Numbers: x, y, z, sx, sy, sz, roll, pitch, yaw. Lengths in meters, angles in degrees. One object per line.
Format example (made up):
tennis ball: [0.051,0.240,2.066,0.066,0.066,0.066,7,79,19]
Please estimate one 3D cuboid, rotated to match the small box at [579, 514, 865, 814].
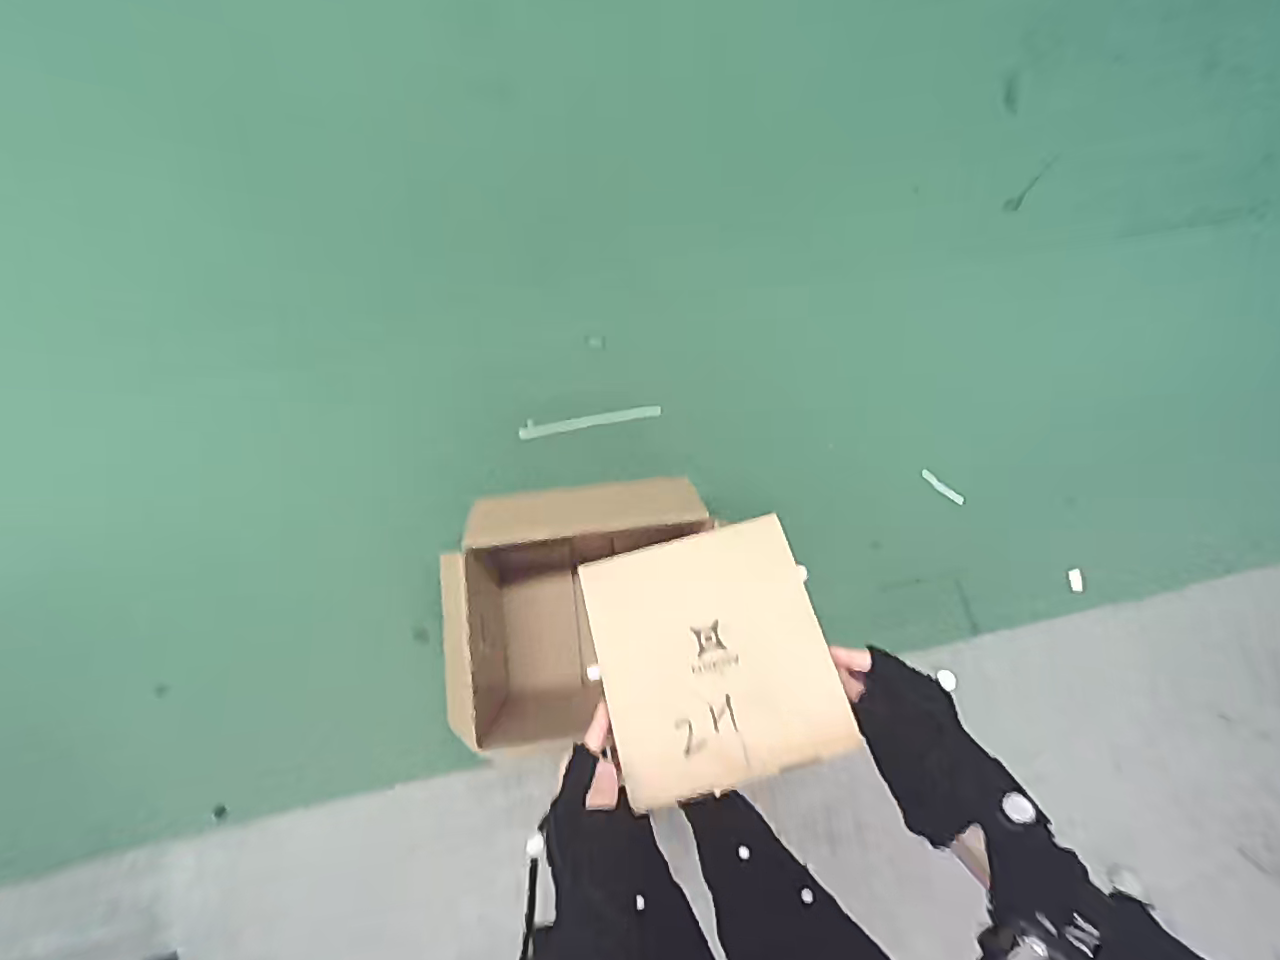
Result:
small box: [0.055,0.153,0.458,0.168,0.176,0.179,-15,67,-2]
